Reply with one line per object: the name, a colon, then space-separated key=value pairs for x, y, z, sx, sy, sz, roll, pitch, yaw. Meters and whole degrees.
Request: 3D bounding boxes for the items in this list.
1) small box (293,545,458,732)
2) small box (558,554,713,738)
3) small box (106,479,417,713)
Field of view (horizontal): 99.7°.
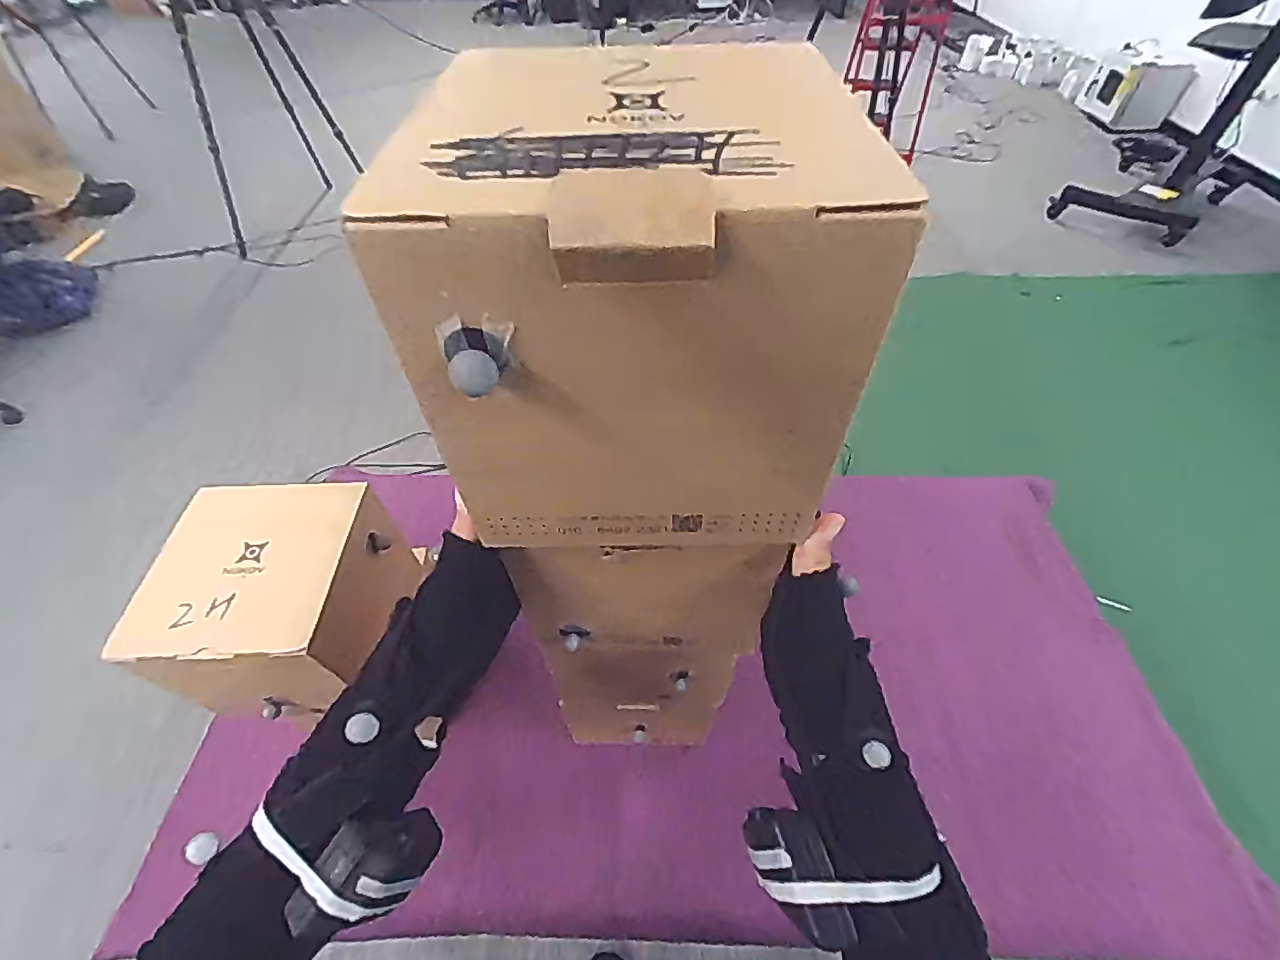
small box: x=-0.339 y=0.201 z=0.682 sx=0.168 sy=0.176 sz=0.179 roll=-3 pitch=52 yaw=-2
small box: x=-0.002 y=0.212 z=0.672 sx=0.168 sy=0.176 sz=0.179 roll=-3 pitch=51 yaw=0
small box: x=-0.341 y=0.117 z=0.539 sx=0.168 sy=0.176 sz=0.179 roll=-2 pitch=52 yaw=-1
